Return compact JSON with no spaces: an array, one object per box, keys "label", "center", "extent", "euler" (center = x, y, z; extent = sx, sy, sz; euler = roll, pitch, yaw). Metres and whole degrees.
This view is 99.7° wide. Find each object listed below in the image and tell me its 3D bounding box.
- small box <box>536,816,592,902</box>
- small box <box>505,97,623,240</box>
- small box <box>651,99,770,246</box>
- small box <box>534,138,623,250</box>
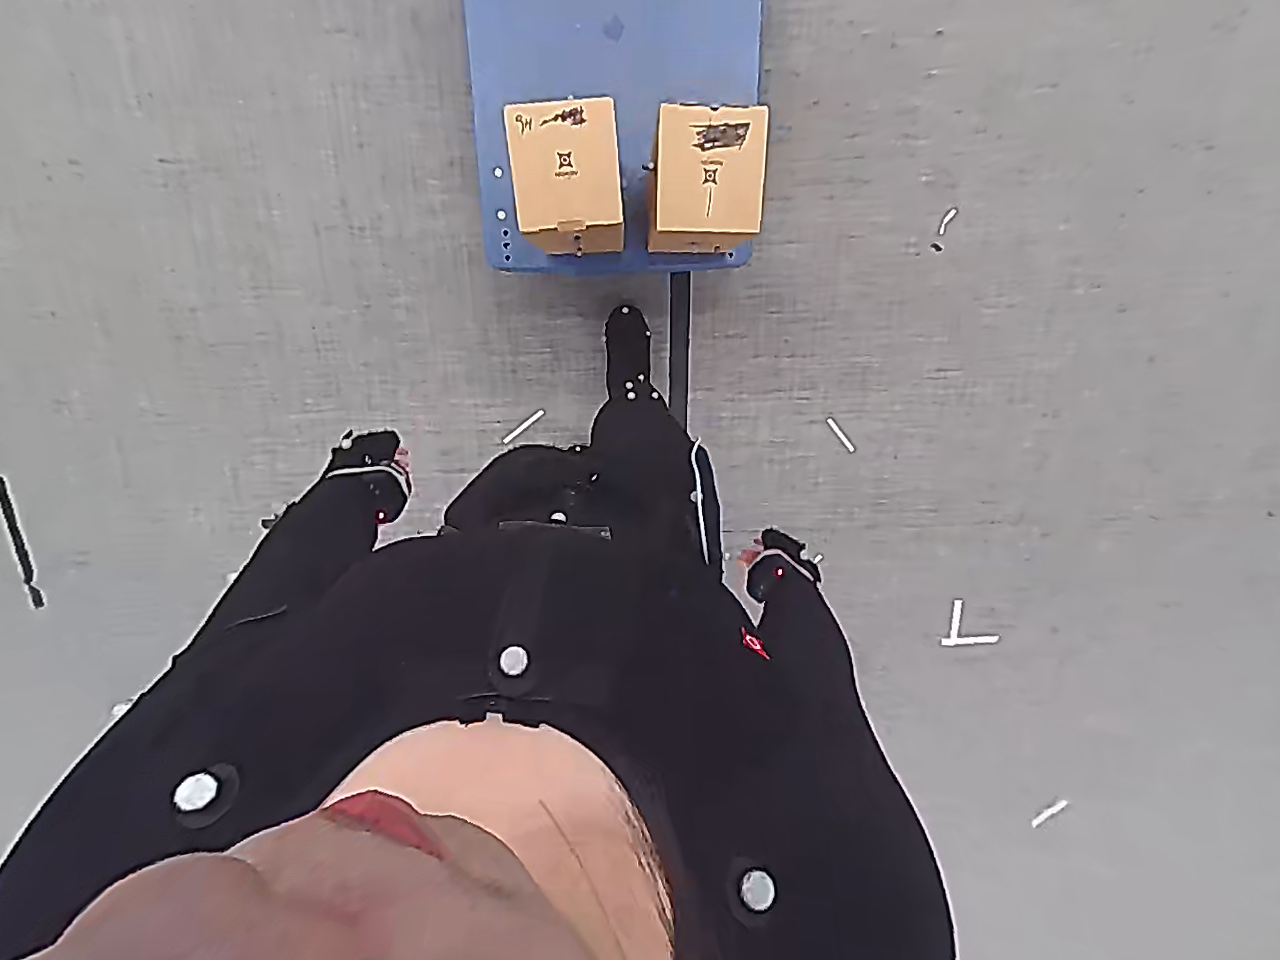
[{"label":"small box","center":[-0.246,1.252,1.792],"extent":[0.168,0.176,0.179],"euler":[-1,106,-2]},{"label":"small box","center":[-0.115,-0.499,0.894],"extent":[0.168,0.176,0.179],"euler":[-4,107,-1]},{"label":"small box","center":[0.106,-0.498,0.900],"extent":[0.168,0.176,0.179],"euler":[1,107,-3]},{"label":"small box","center":[-0.118,-0.548,1.052],"extent":[0.168,0.176,0.179],"euler":[-2,106,-1]}]
